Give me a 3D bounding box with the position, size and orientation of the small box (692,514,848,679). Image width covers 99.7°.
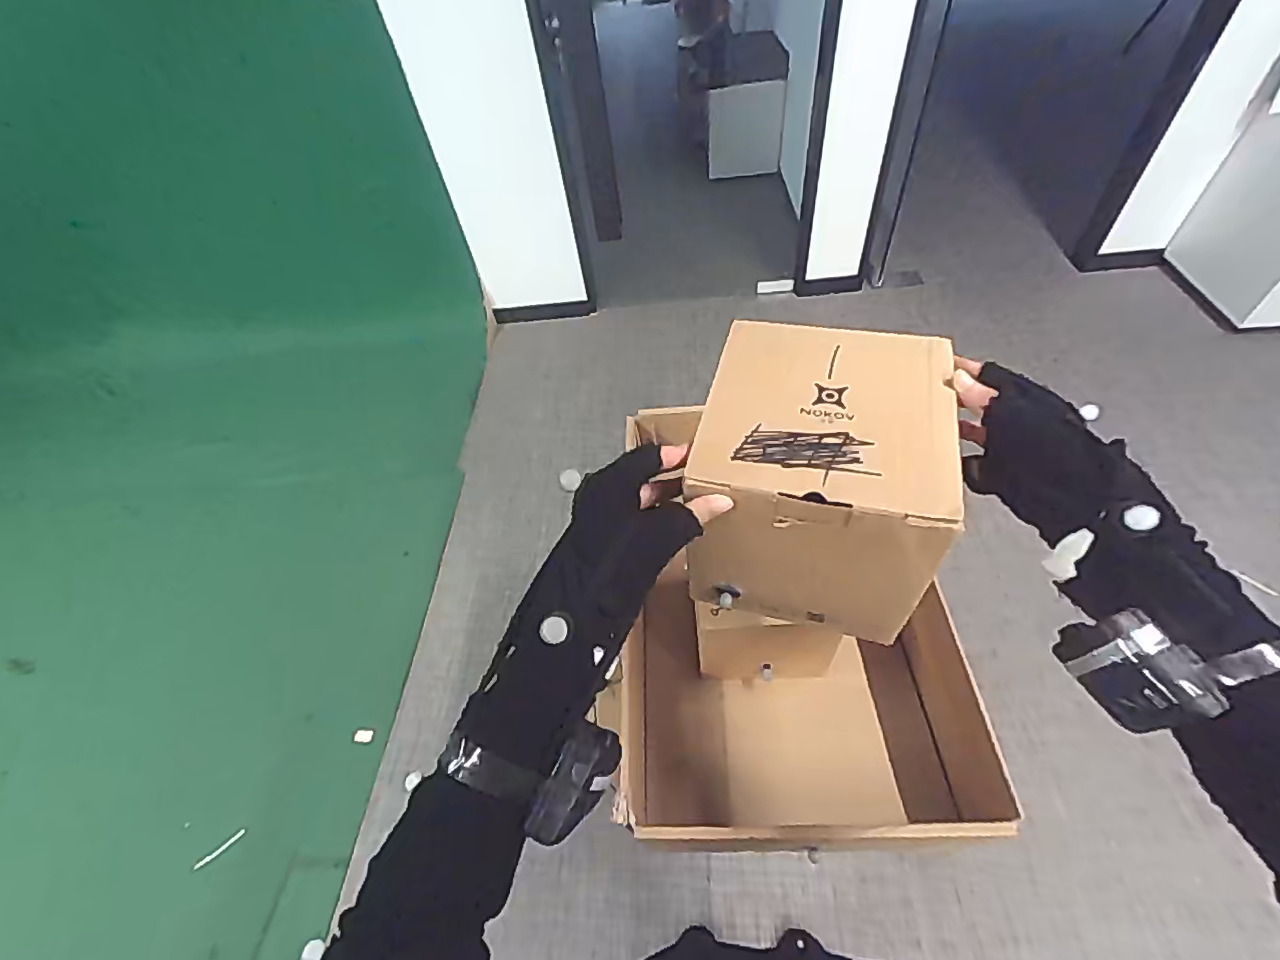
[{"bbox_3d":[0.163,0.164,0.745,0.179,0.176,0.168,-3,49,4],"label":"small box"}]
